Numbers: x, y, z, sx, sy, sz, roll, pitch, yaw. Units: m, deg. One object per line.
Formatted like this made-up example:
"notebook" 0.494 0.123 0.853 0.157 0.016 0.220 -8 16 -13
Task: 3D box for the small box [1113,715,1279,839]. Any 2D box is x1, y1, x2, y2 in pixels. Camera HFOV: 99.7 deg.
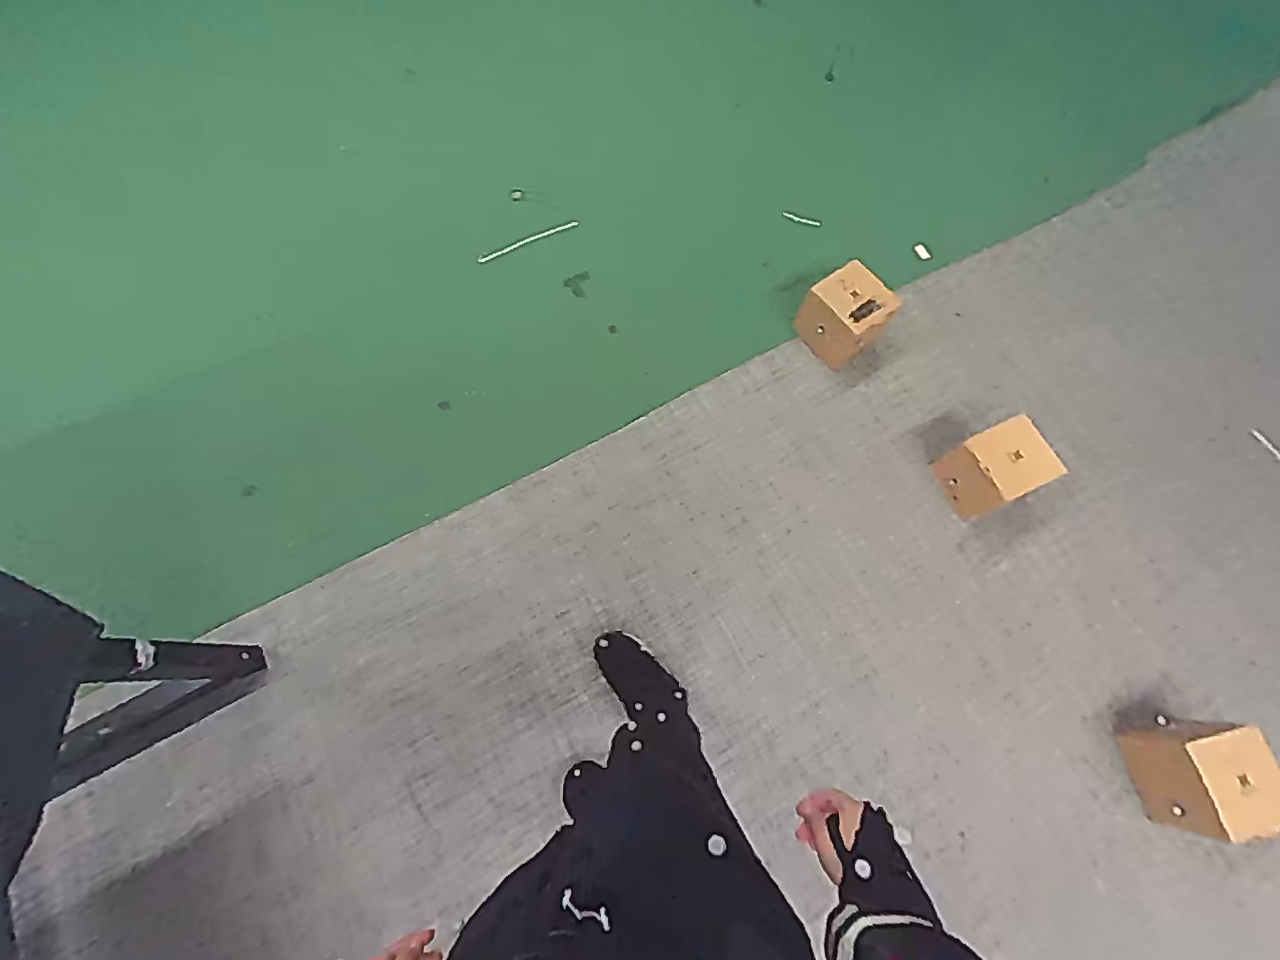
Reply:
"small box" 1.141 0.594 1.103 0.168 0.176 0.179 -11 71 -7

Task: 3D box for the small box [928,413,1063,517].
"small box" 0.851 -0.032 1.312 0.179 0.176 0.168 -24 73 -9
